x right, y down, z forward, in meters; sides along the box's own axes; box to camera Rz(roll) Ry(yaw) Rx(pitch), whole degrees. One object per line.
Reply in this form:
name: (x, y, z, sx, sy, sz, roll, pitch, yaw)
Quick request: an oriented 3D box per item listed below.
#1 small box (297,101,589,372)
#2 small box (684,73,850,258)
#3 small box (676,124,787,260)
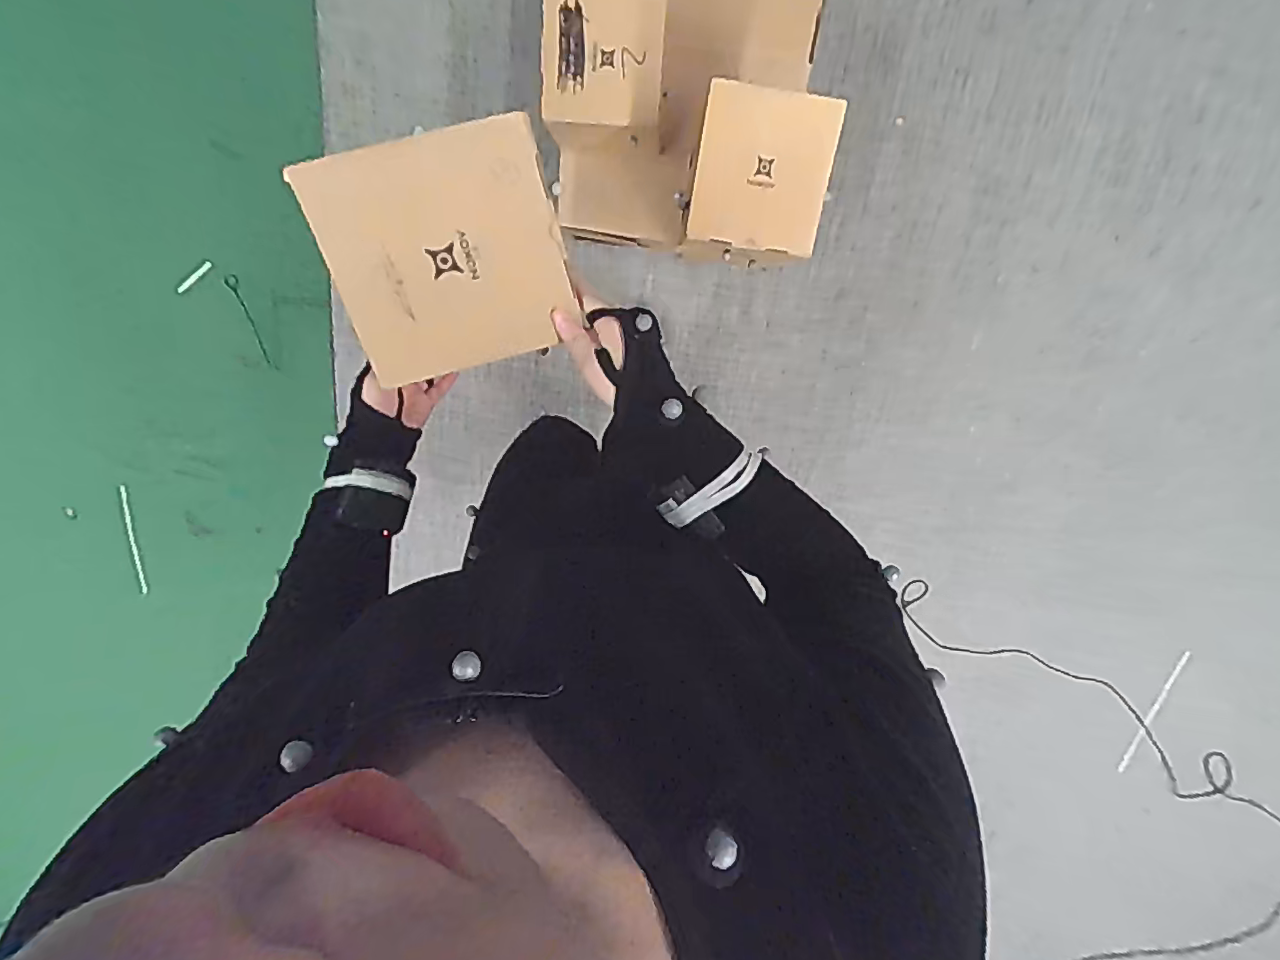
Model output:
small box: (-0.154, -0.211, 0.487, 0.179, 0.176, 0.168, -14, 113, -3)
small box: (0.155, -0.408, 0.734, 0.168, 0.176, 0.179, 9, 111, -2)
small box: (0.161, -0.462, 0.888, 0.179, 0.176, 0.168, 9, 110, -2)
